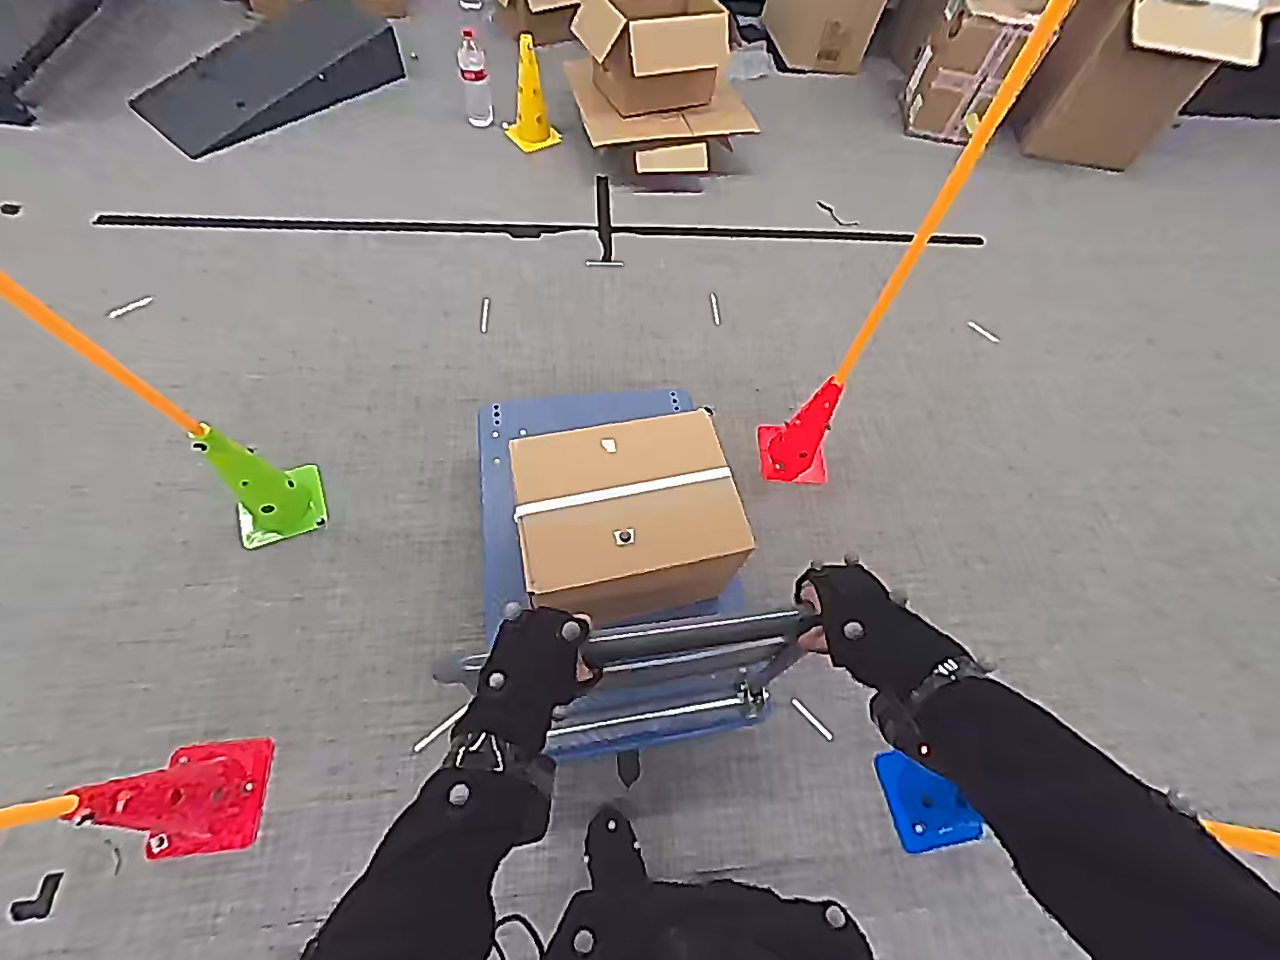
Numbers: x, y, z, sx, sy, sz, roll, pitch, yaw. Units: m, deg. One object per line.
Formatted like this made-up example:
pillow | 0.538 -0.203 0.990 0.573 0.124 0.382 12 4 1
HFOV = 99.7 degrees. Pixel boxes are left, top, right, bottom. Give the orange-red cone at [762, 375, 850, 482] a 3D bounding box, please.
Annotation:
orange-red cone | 0.489 -0.167 1.497 0.199 0.360 0.198 5 62 -4

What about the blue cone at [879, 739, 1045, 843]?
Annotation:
blue cone | 0.677 0.631 1.100 0.193 0.380 0.192 -5 61 -9
